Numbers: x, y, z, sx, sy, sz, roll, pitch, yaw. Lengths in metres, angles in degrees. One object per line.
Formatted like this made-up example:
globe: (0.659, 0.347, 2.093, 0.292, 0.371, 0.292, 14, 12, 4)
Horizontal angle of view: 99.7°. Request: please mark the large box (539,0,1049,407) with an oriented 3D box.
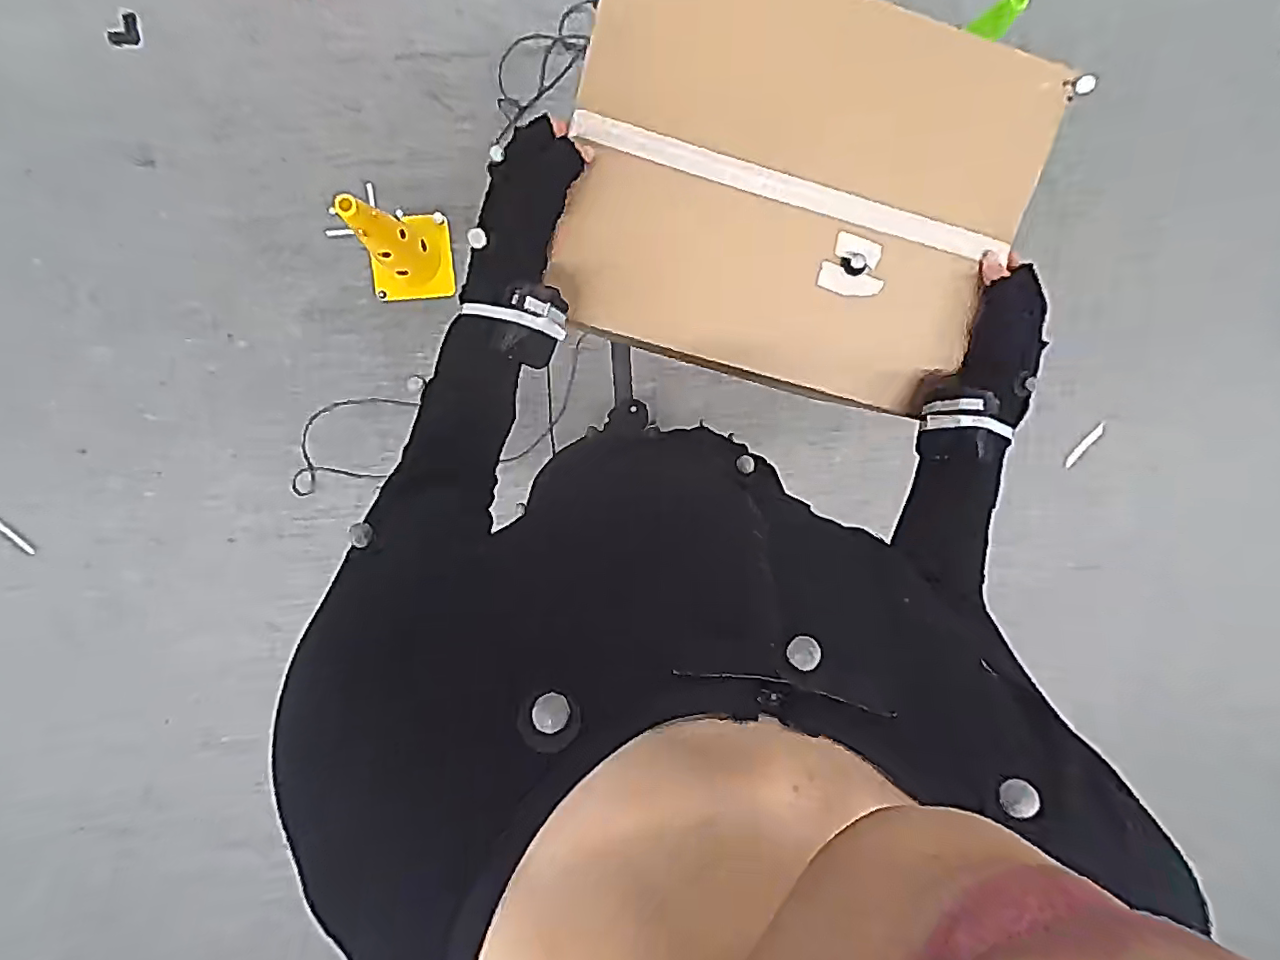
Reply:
large box: (0.124, -0.288, 0.627, 0.408, 0.320, 0.320, 13, 102, -6)
